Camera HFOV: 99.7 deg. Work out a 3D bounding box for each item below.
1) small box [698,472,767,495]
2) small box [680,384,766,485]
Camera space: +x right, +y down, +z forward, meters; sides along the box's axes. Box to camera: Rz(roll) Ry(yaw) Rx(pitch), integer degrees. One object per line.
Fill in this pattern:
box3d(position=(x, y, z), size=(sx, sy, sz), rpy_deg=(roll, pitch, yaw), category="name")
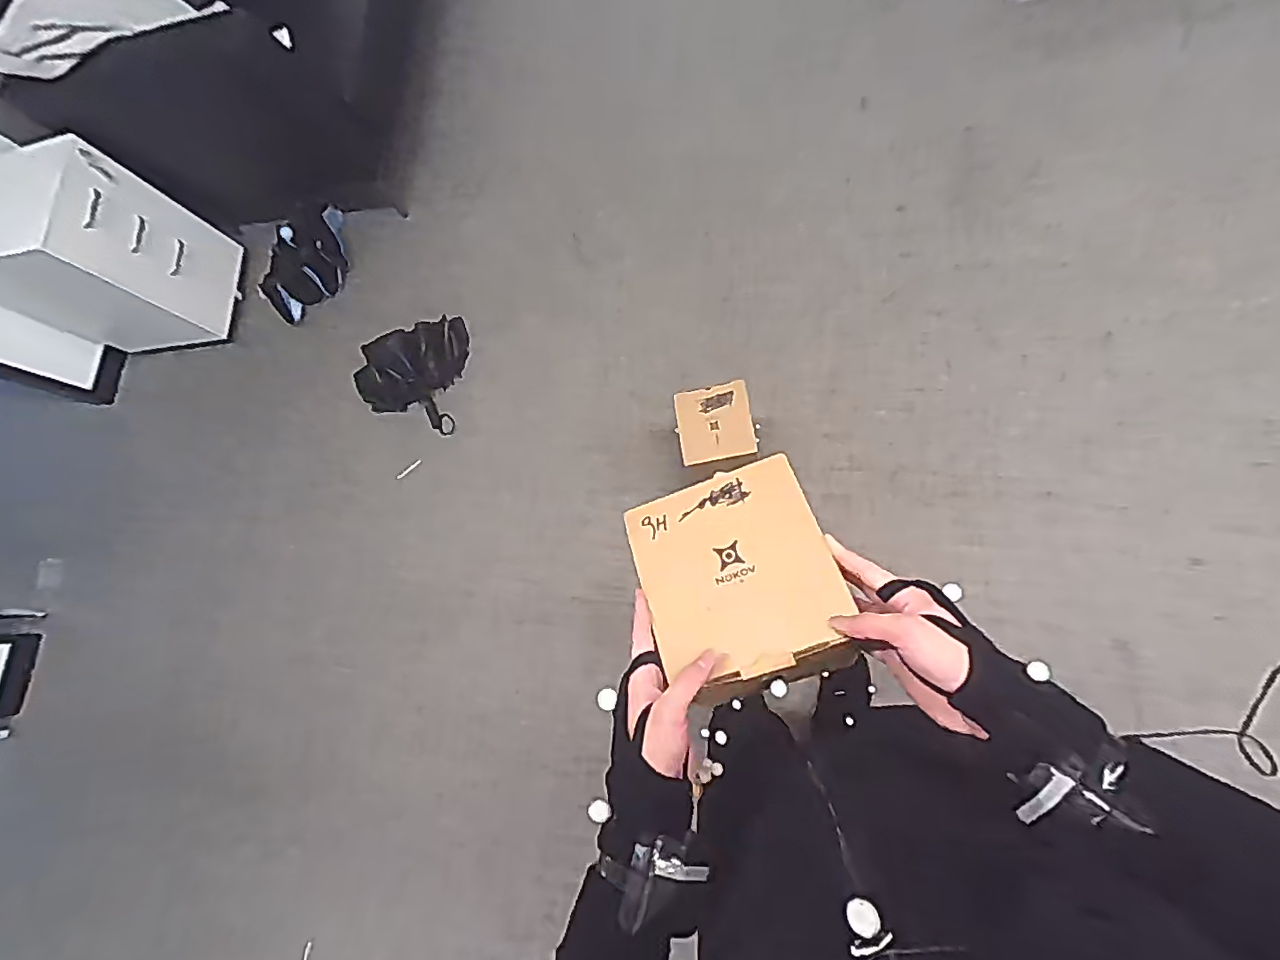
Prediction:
box3d(position=(0.236, -0.065, 1.429), size=(0.168, 0.176, 0.179), rpy_deg=(-12, 73, 13), category="small box")
box3d(position=(0.198, -0.100, 1.272), size=(0.168, 0.176, 0.179), rpy_deg=(-11, 76, 13), category="small box")
